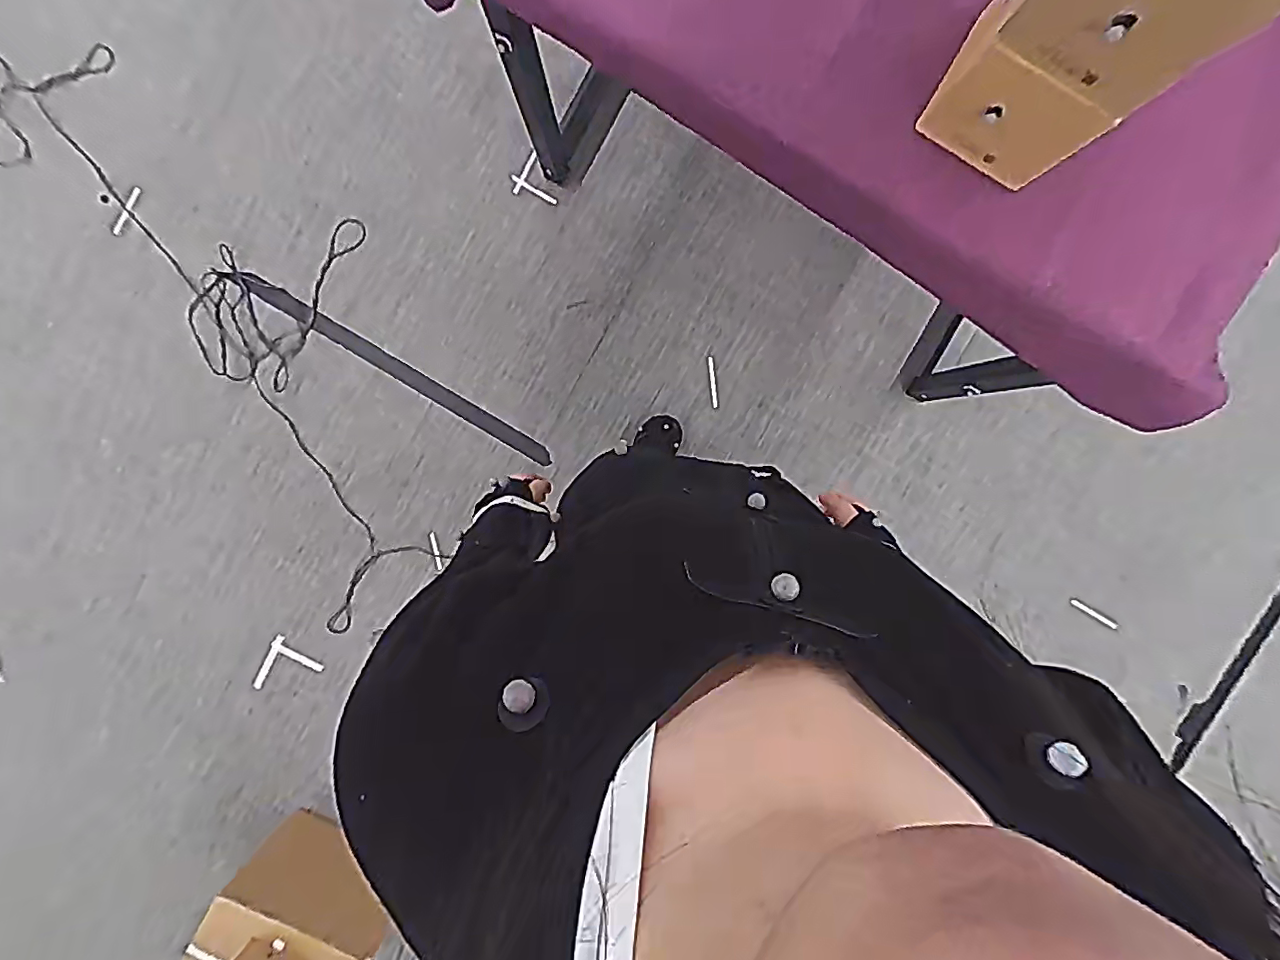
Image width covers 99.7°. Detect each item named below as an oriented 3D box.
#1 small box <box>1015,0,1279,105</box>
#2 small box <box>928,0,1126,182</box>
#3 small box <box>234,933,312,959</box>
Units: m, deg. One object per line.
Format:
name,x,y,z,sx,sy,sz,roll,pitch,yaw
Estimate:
small box,0.490,-0.496,0.488,0.168,0.176,0.179,31,94,-2
small box,0.487,-0.505,0.652,0.168,0.176,0.179,30,93,-2
small box,-0.882,1.193,1.217,0.168,0.176,0.179,27,93,-3
